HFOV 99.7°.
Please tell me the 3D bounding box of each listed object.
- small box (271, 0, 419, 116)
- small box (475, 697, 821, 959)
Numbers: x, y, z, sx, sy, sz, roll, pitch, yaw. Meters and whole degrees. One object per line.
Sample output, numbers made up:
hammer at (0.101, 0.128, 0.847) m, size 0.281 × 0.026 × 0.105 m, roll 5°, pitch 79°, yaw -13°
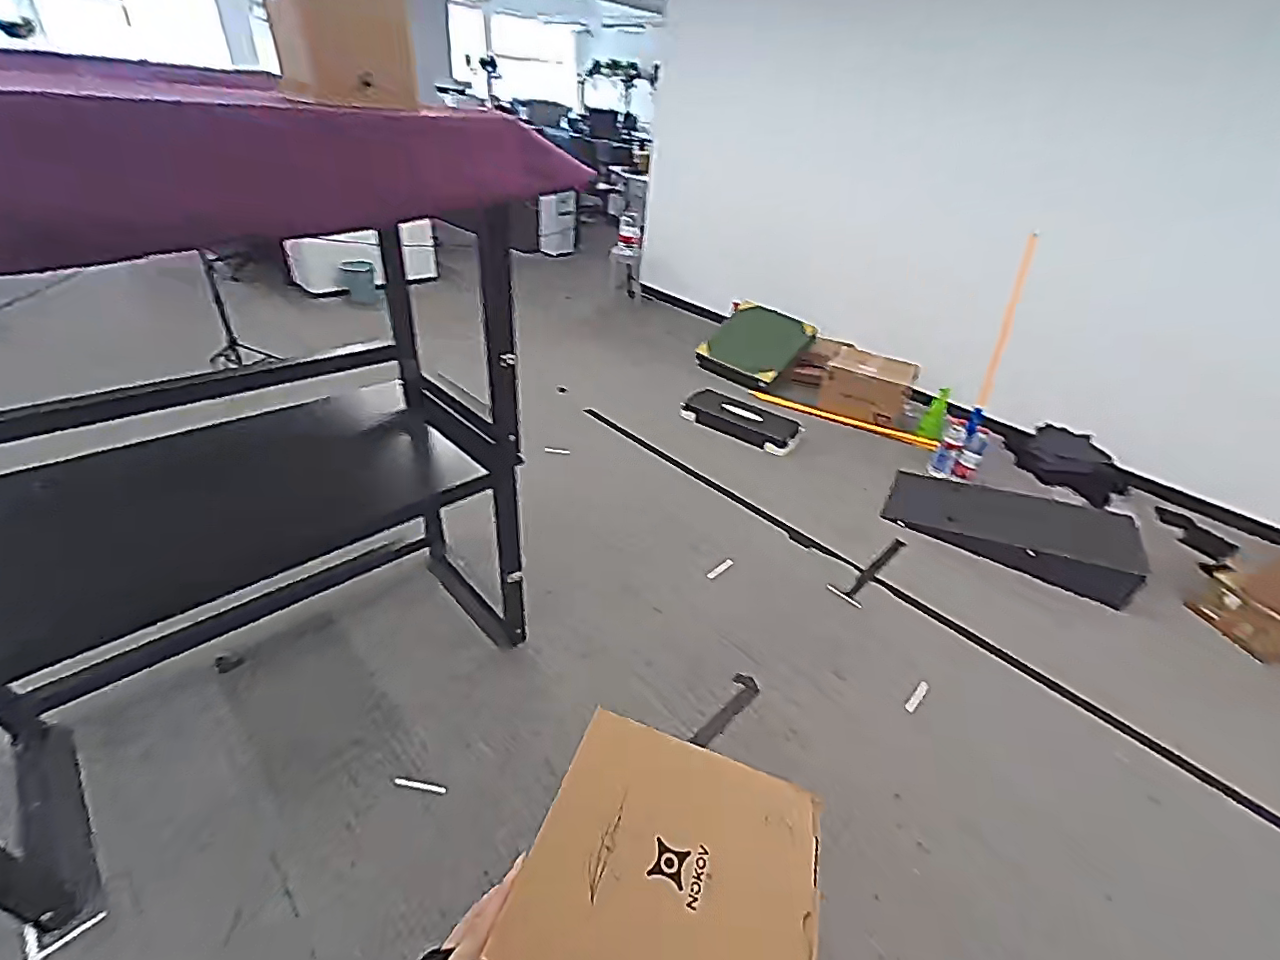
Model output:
small box at (-0.498, -0.730, 0.925) m, size 0.168 × 0.176 × 0.179 m, roll 31°, pitch 42°, yaw 33°
small box at (0.010, 0.295, 0.374) m, size 0.179 × 0.176 × 0.168 m, roll 16°, pitch 32°, yaw 13°
